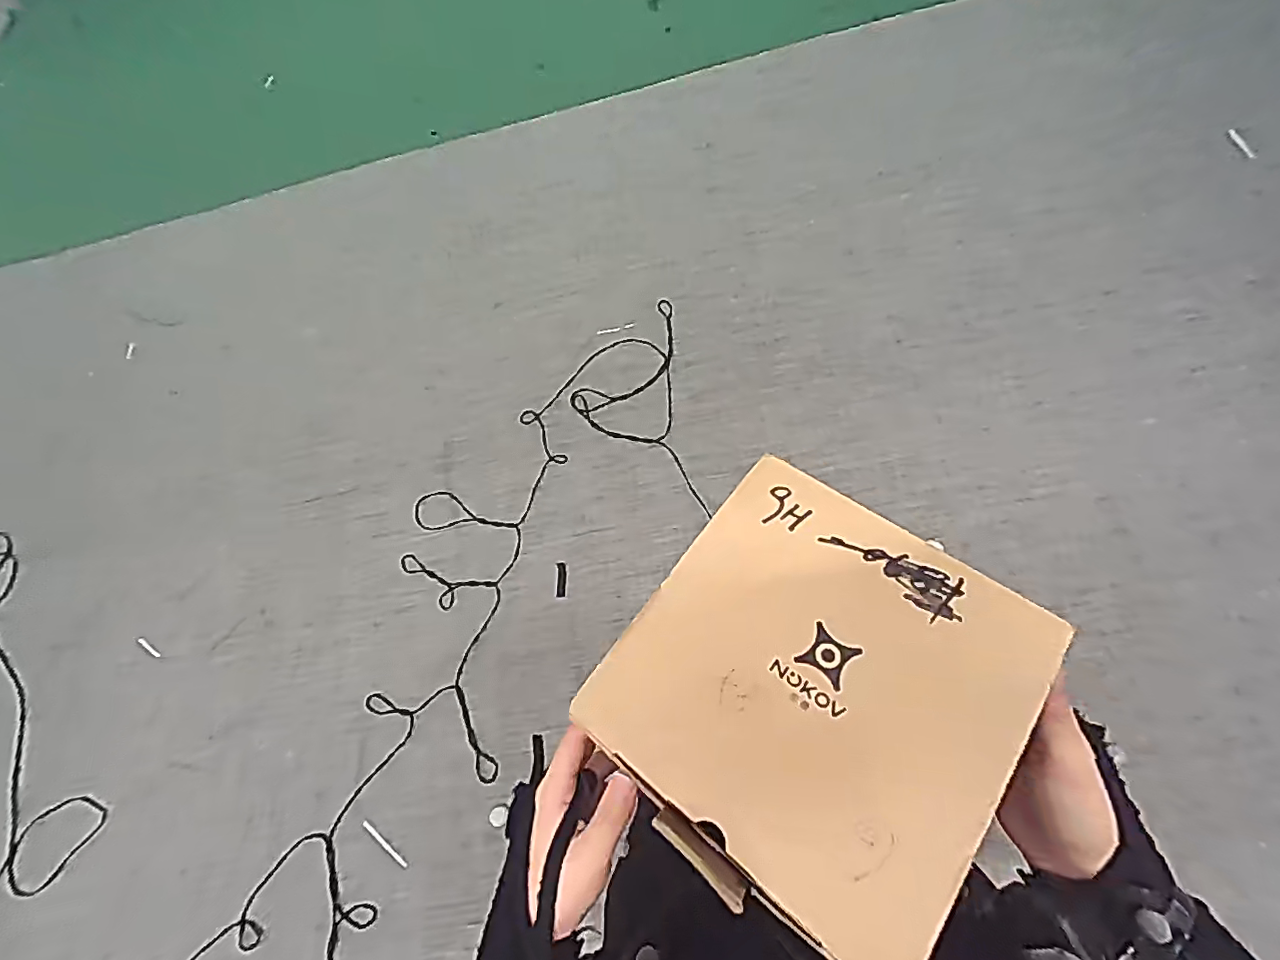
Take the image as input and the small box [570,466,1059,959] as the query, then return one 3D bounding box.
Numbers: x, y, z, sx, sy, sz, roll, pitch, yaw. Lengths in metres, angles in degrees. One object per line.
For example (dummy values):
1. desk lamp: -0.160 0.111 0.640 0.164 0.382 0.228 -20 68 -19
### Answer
1. small box: 0.090 0.131 0.325 0.168 0.176 0.179 33 71 22
